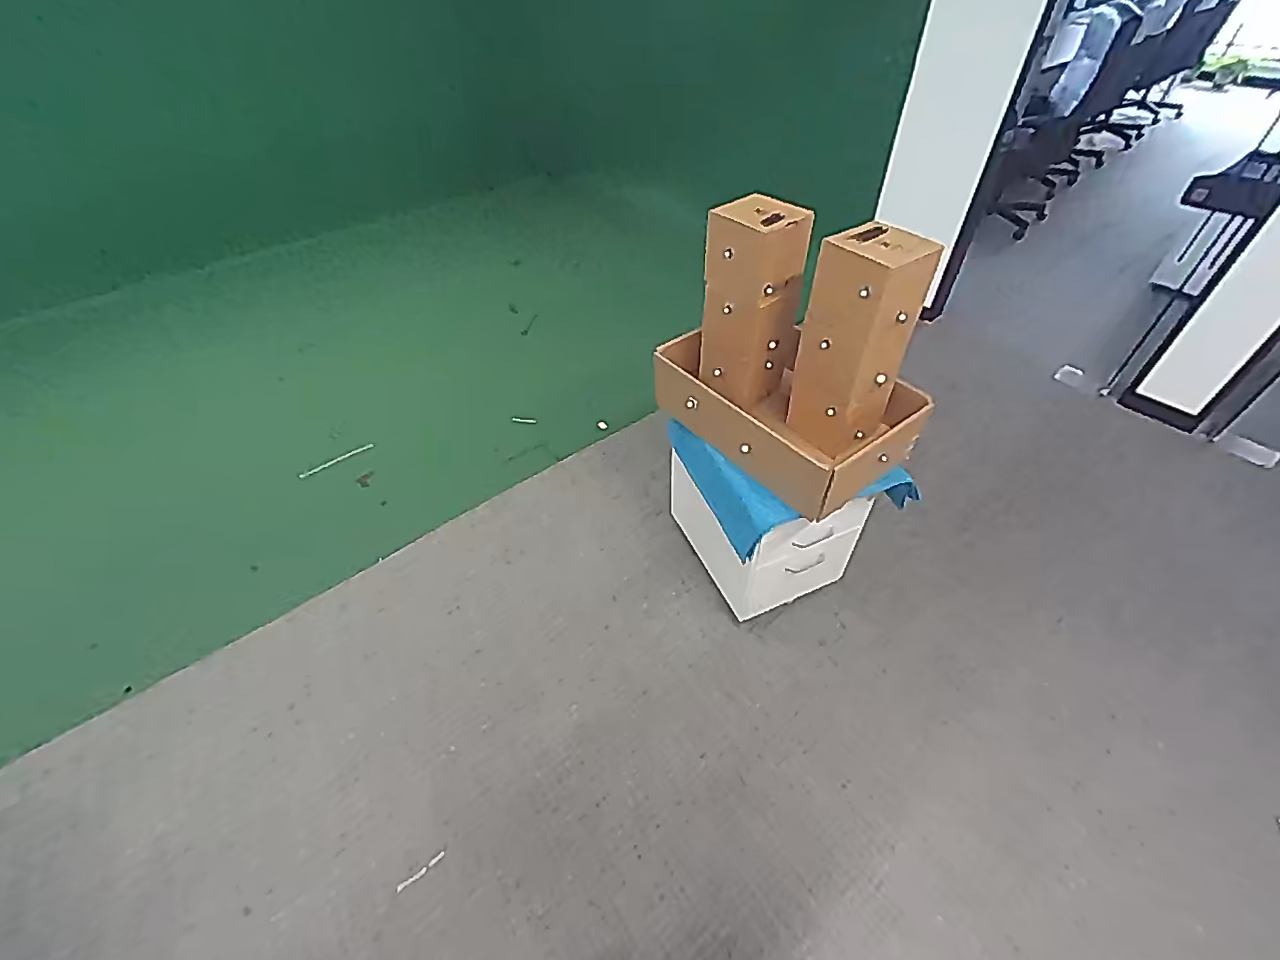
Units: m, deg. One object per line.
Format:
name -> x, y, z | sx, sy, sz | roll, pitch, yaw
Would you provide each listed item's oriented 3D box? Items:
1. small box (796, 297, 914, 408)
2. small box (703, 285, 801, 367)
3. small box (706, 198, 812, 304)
small box -> 0.492, -0.297, 1.264 | 0.168, 0.176, 0.179 | -27, 51, -22
small box -> 0.279, -0.417, 1.388 | 0.168, 0.176, 0.179 | -34, 55, -27
small box -> 0.273, -0.535, 1.275 | 0.168, 0.176, 0.179 | -31, 52, -25
